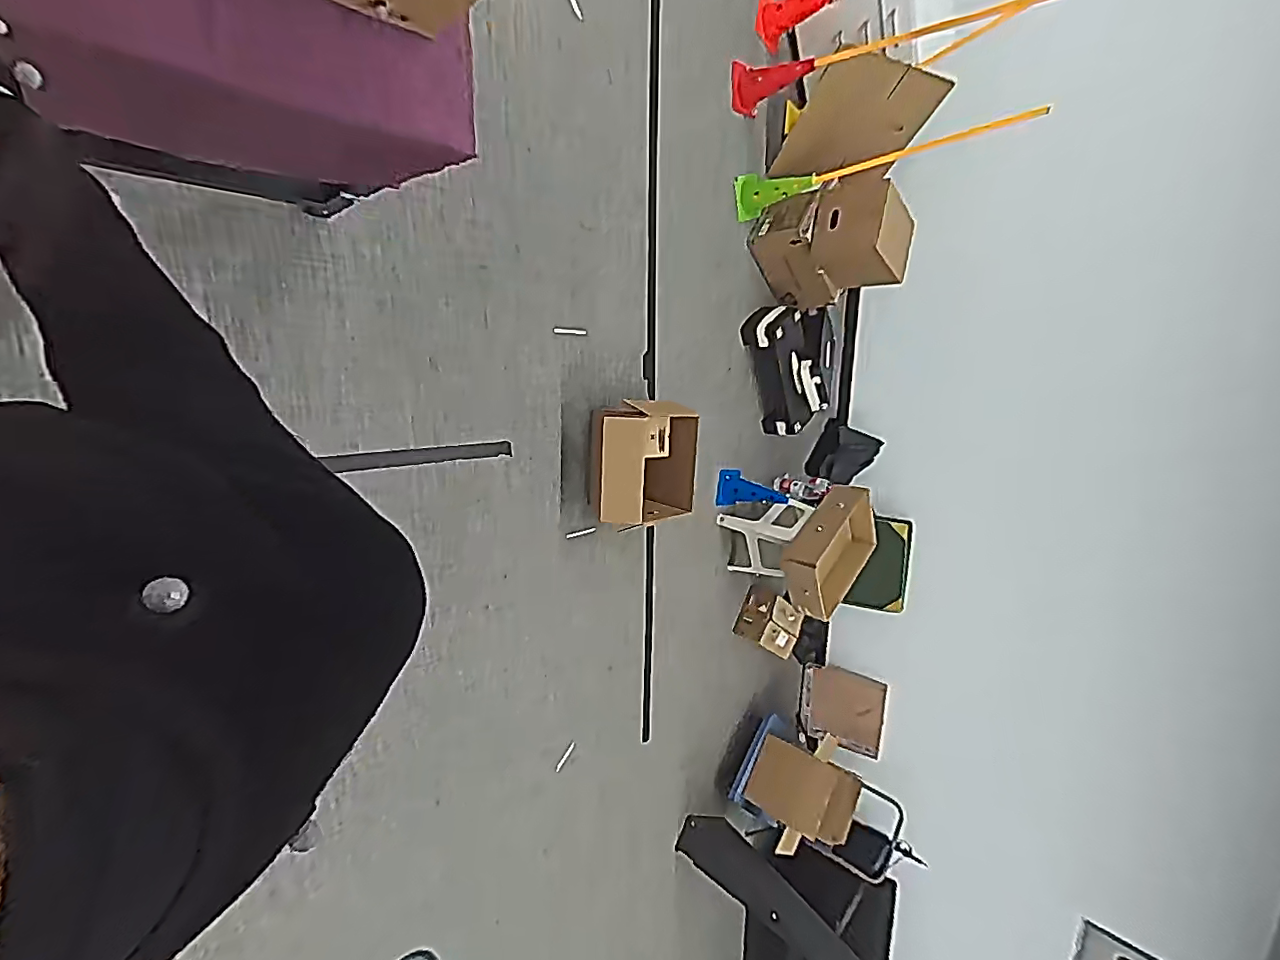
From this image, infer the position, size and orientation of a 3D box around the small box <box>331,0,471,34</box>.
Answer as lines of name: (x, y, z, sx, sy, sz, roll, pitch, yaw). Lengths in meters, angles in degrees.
small box: (-0.328, -0.745, 0.710, 0.168, 0.176, 0.179, -16, 110, -43)
